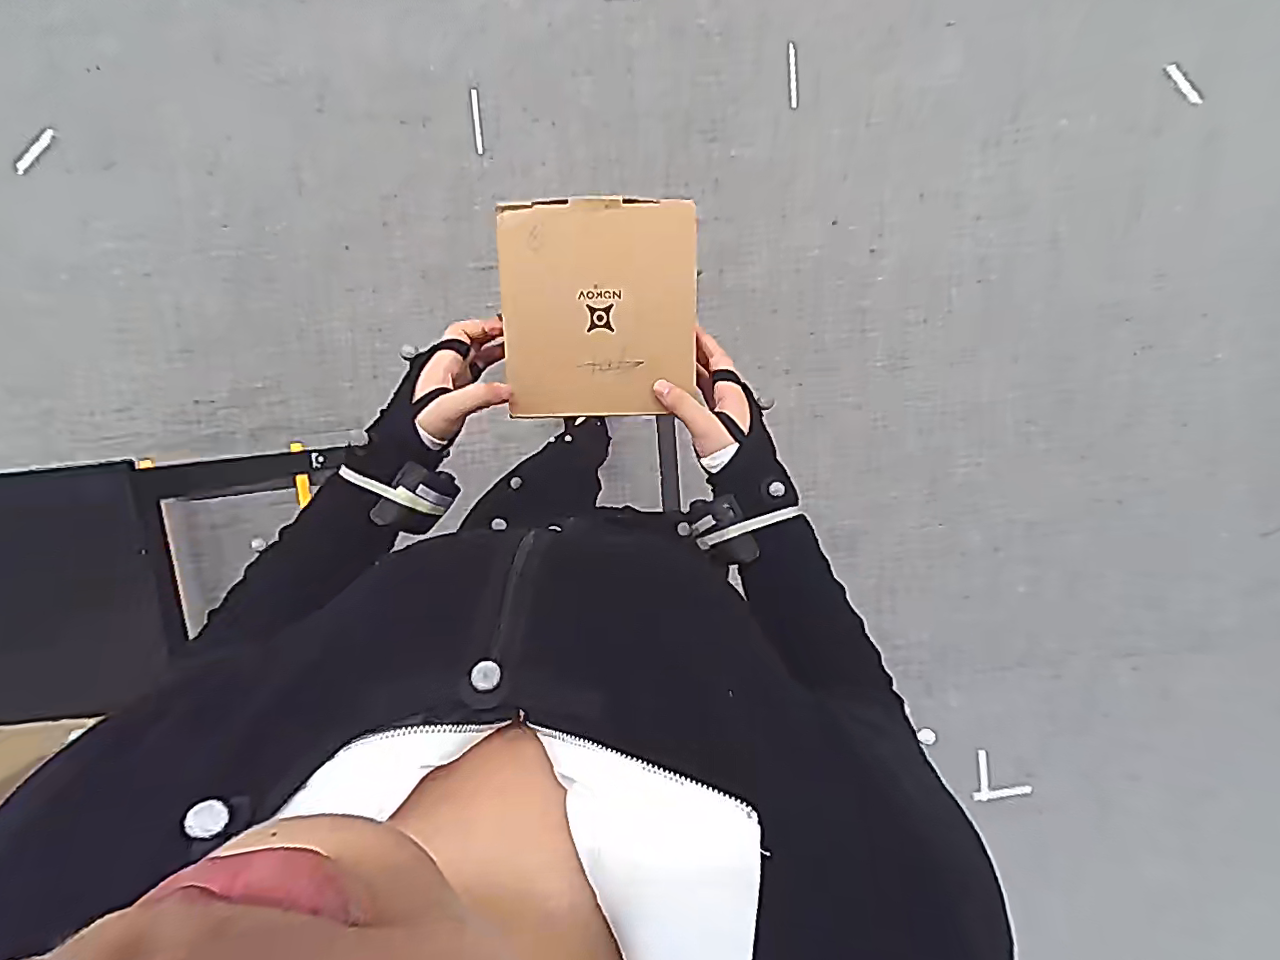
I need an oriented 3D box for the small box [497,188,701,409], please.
[{"bbox_3d":[-0.034,-0.167,0.528,0.168,0.176,0.179,-2,105,0],"label":"small box"}]
